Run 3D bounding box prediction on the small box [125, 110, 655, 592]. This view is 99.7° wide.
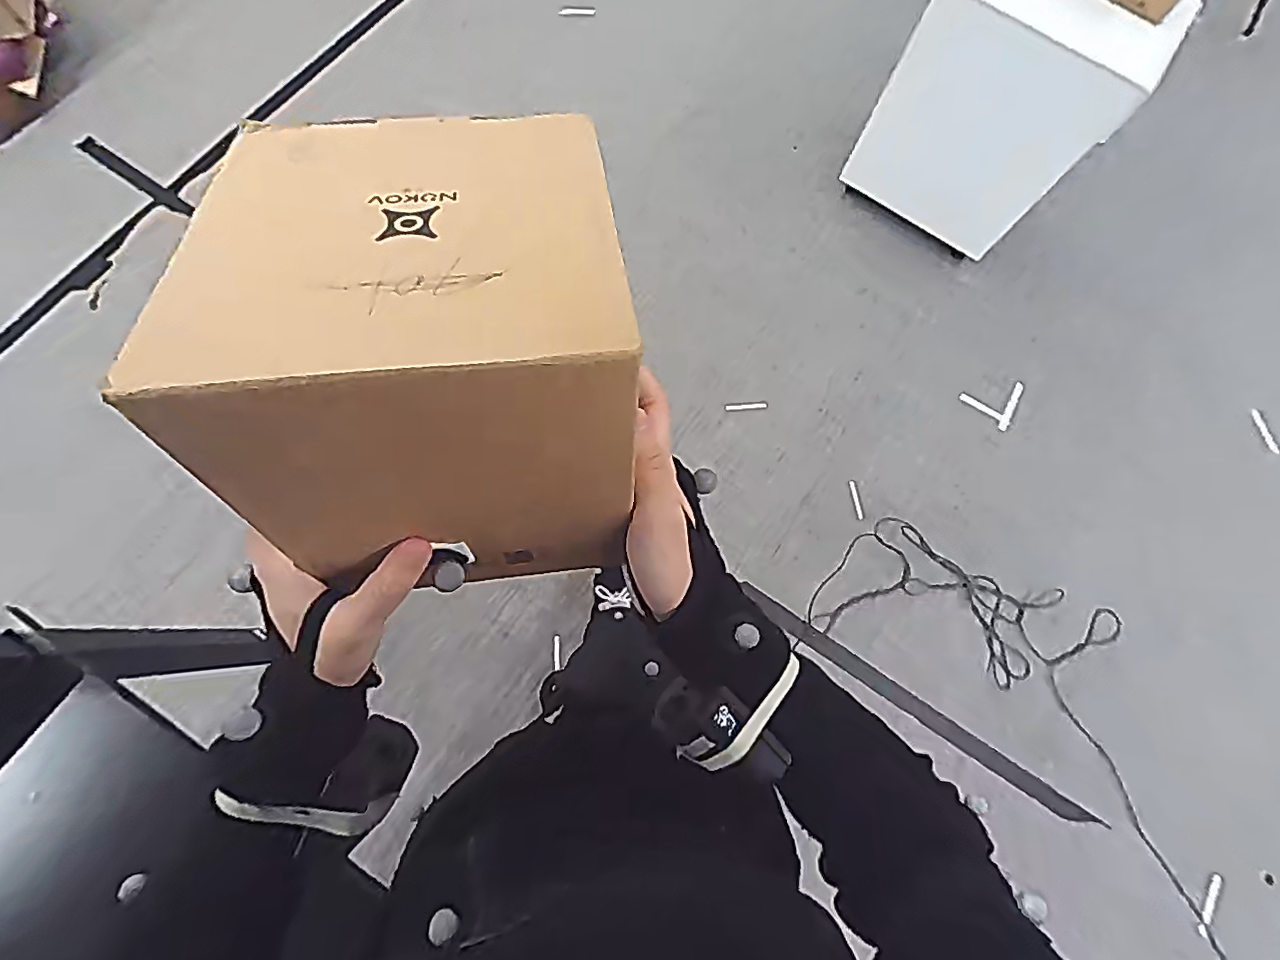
[{"bbox_3d":[-0.090,-0.061,0.282,0.168,0.176,0.179,-6,58,-6],"label":"small box"}]
